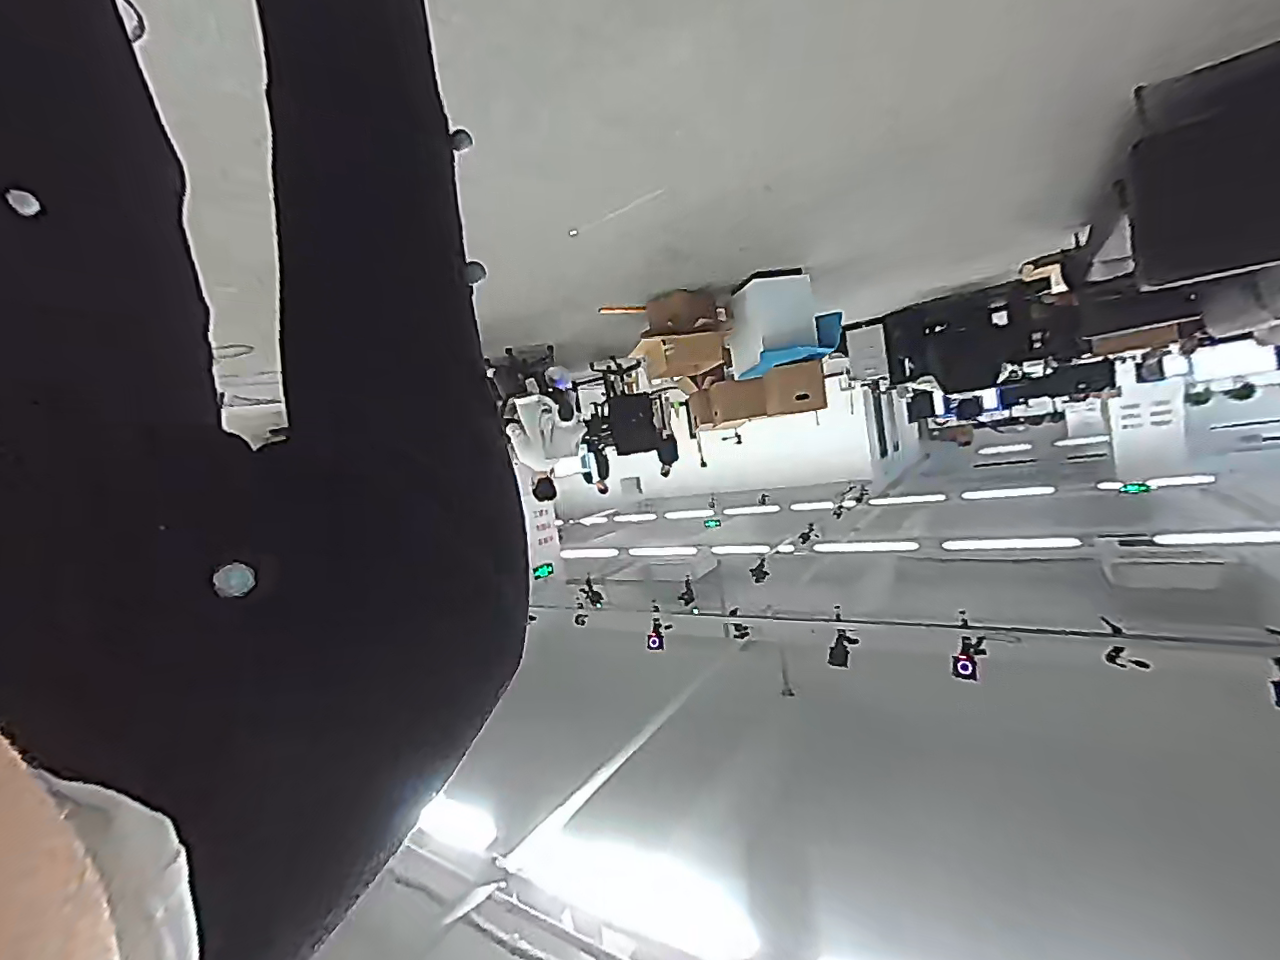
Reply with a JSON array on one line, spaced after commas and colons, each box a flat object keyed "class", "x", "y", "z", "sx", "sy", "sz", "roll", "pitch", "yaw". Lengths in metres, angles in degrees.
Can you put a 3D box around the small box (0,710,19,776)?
[{"class": "small box", "x": -1.888, "y": 0.755, "z": 1.496, "sx": 0.168, "sy": 0.176, "sz": 0.179, "roll": -5, "pitch": -174, "yaw": 31}]
